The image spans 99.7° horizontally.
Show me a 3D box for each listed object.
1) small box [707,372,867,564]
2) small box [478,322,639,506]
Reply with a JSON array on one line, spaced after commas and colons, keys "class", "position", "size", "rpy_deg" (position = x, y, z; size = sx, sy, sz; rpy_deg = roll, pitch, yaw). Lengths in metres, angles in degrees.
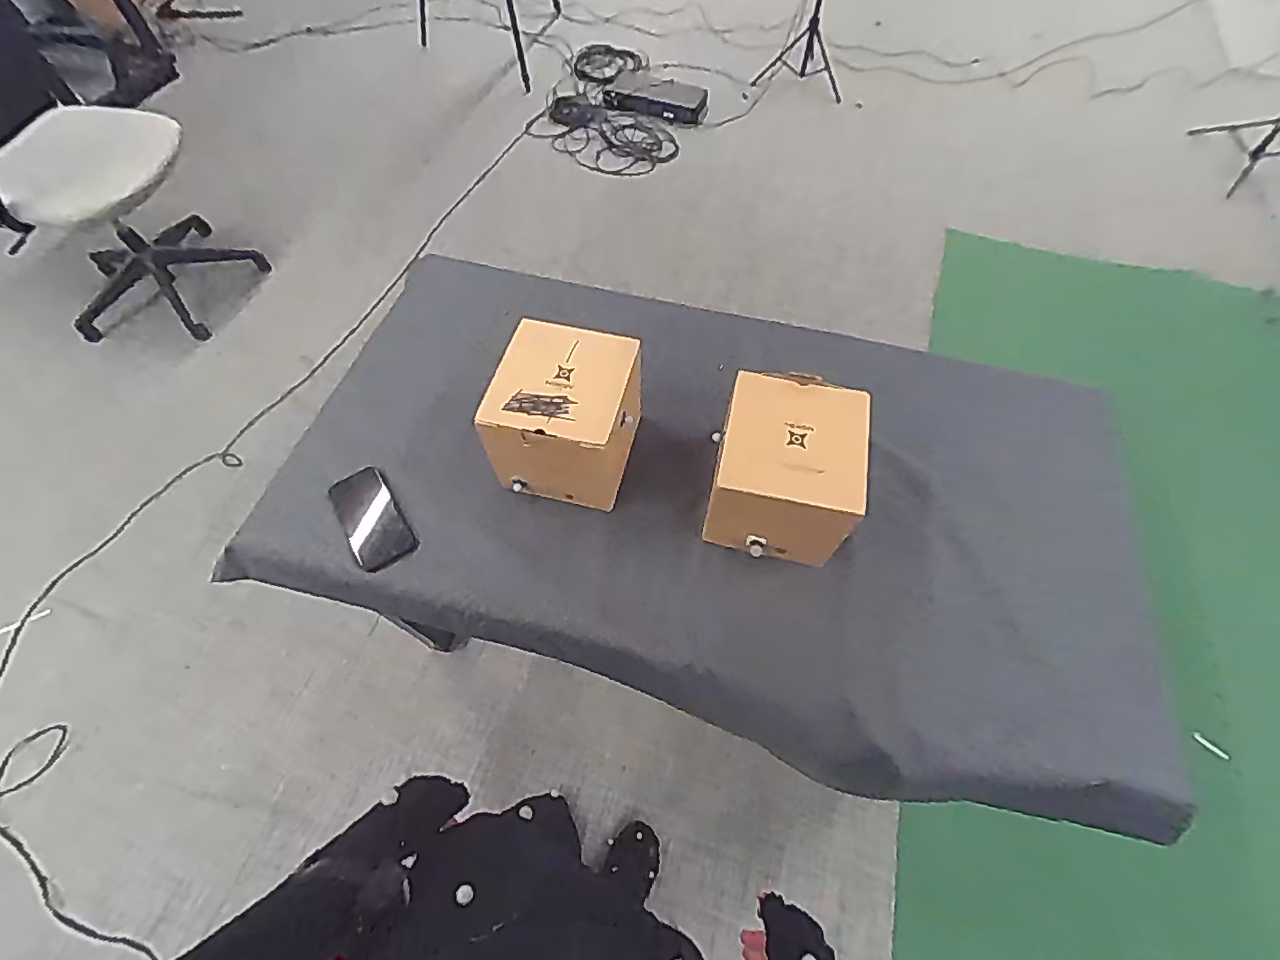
[{"class": "small box", "position": [0.186, -0.011, 0.711], "size": [0.168, 0.176, 0.179], "rpy_deg": [10, 62, 7]}, {"class": "small box", "position": [-0.098, -0.085, 0.748], "size": [0.168, 0.176, 0.179], "rpy_deg": [12, 60, 6]}]
